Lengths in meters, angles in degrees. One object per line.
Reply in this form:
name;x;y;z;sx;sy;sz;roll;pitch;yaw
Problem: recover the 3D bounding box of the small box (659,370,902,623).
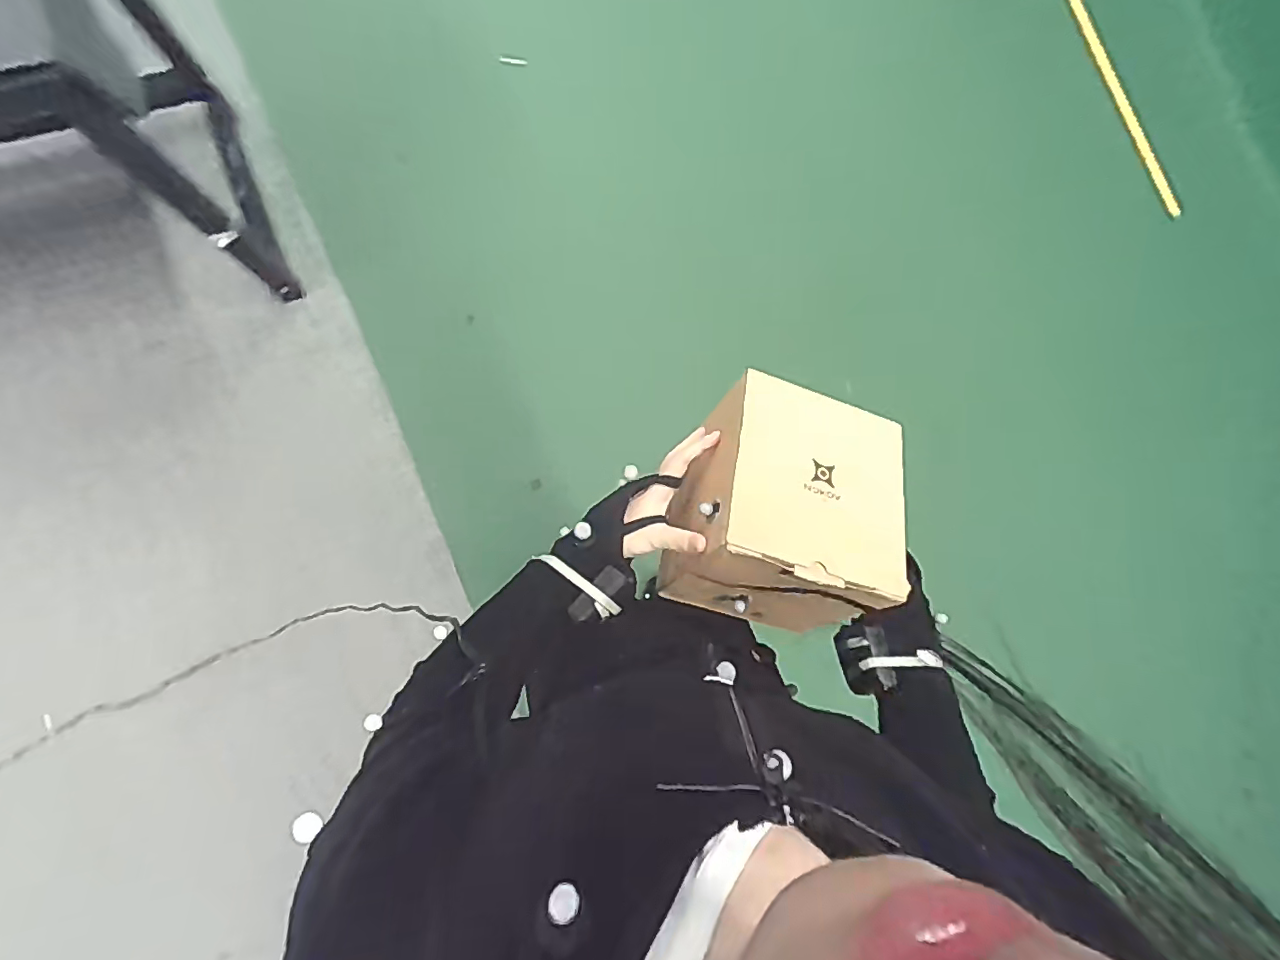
small box;0.128;0.029;0.536;0.168;0.176;0.179;16;63;-12
